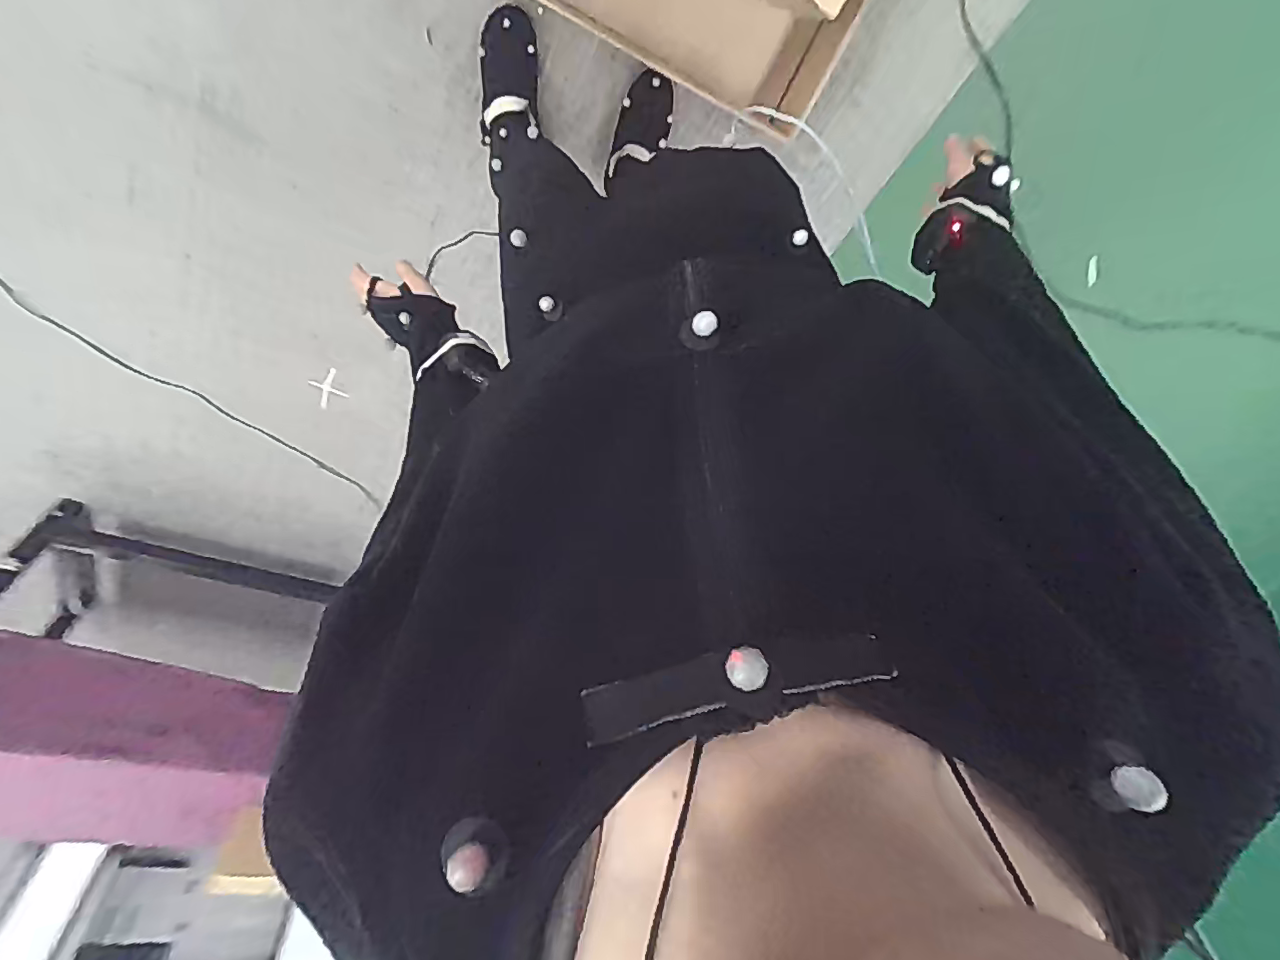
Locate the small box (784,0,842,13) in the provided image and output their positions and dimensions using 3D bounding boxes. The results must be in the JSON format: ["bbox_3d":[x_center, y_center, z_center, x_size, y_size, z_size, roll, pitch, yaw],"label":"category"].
[{"bbox_3d":[0.238,-0.801,0.752,0.168,0.176,0.179,18,128,-21],"label":"small box"}]

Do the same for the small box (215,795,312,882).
[{"bbox_3d":[-1.077,1.026,1.552,0.179,0.176,0.168,19,127,-22],"label":"small box"}]
